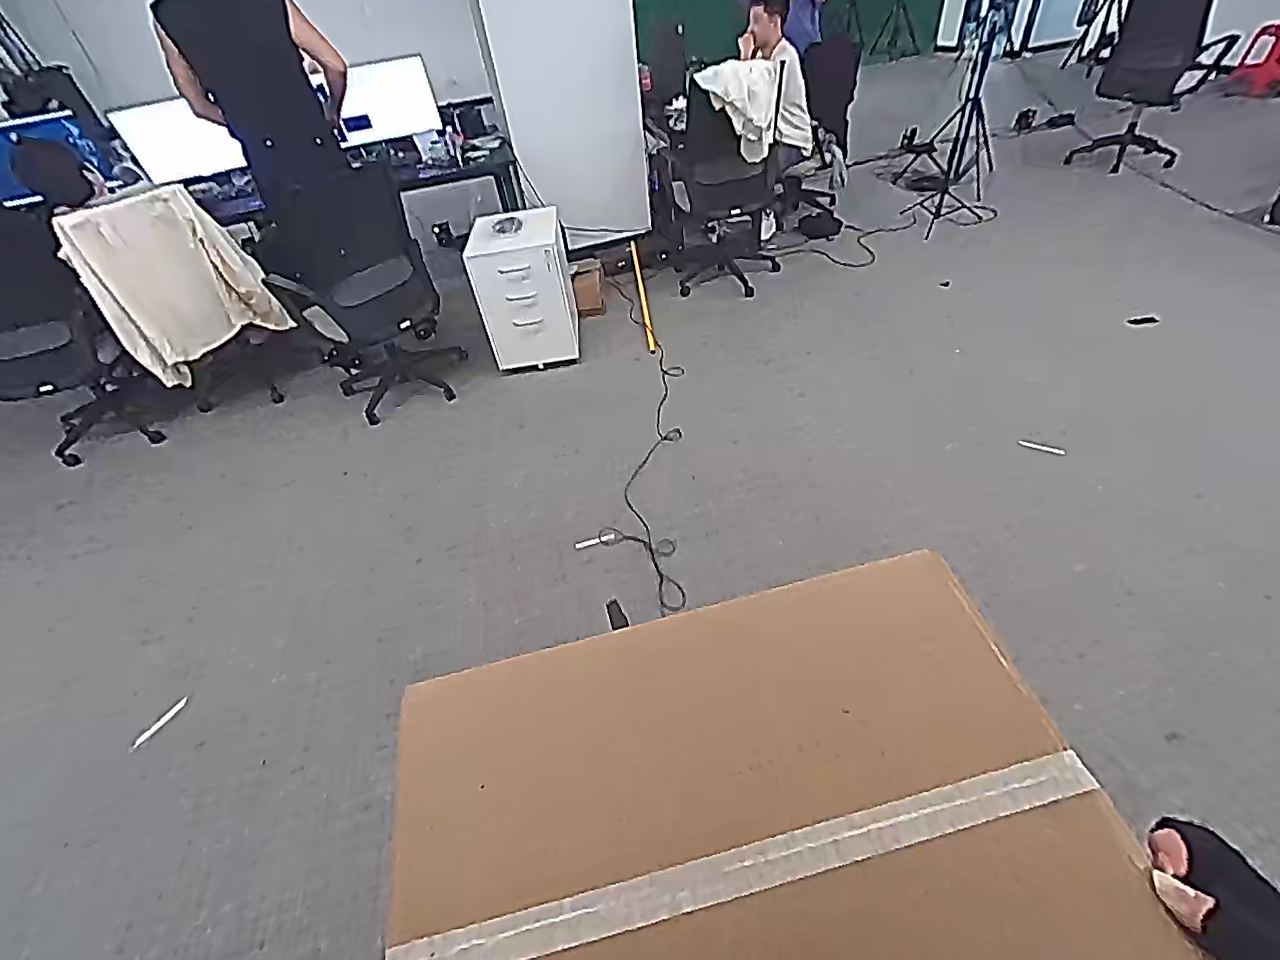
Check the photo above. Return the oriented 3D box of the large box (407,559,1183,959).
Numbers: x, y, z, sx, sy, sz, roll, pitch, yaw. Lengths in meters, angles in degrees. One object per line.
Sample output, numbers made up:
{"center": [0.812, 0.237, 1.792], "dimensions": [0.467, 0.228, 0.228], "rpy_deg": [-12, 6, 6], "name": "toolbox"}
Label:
{"center": [0.079, 0.314, 0.430], "dimensions": [0.408, 0.320, 0.320], "rpy_deg": [-15, 50, -2], "name": "large box"}
